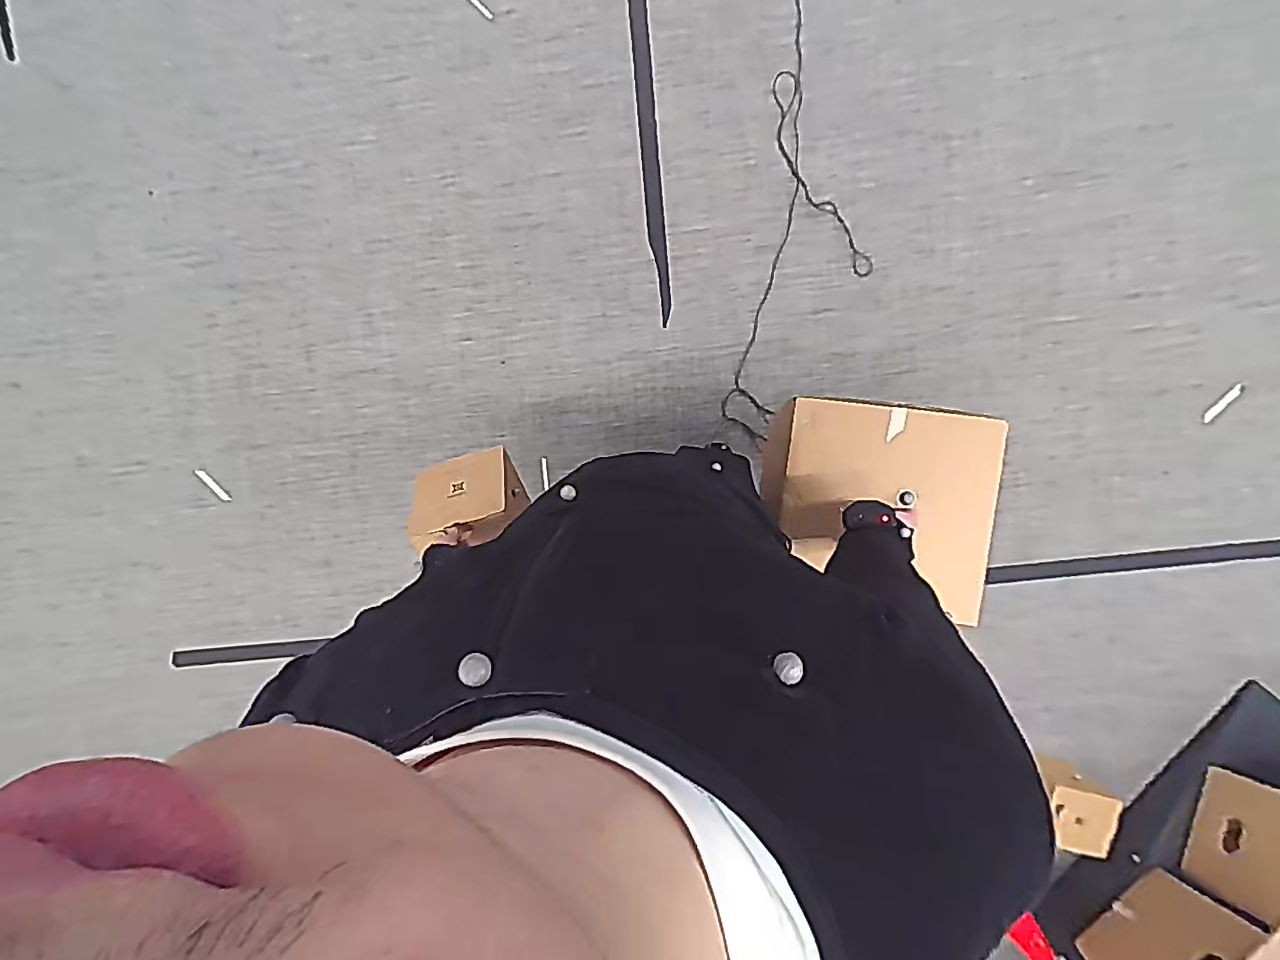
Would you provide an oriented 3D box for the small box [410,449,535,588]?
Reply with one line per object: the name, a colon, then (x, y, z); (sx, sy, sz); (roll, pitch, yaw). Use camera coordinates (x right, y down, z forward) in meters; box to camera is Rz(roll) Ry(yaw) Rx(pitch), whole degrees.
small box: (-0.297, 0.077, 0.989); (0.168, 0.179, 0.176); (-16, 134, -2)
